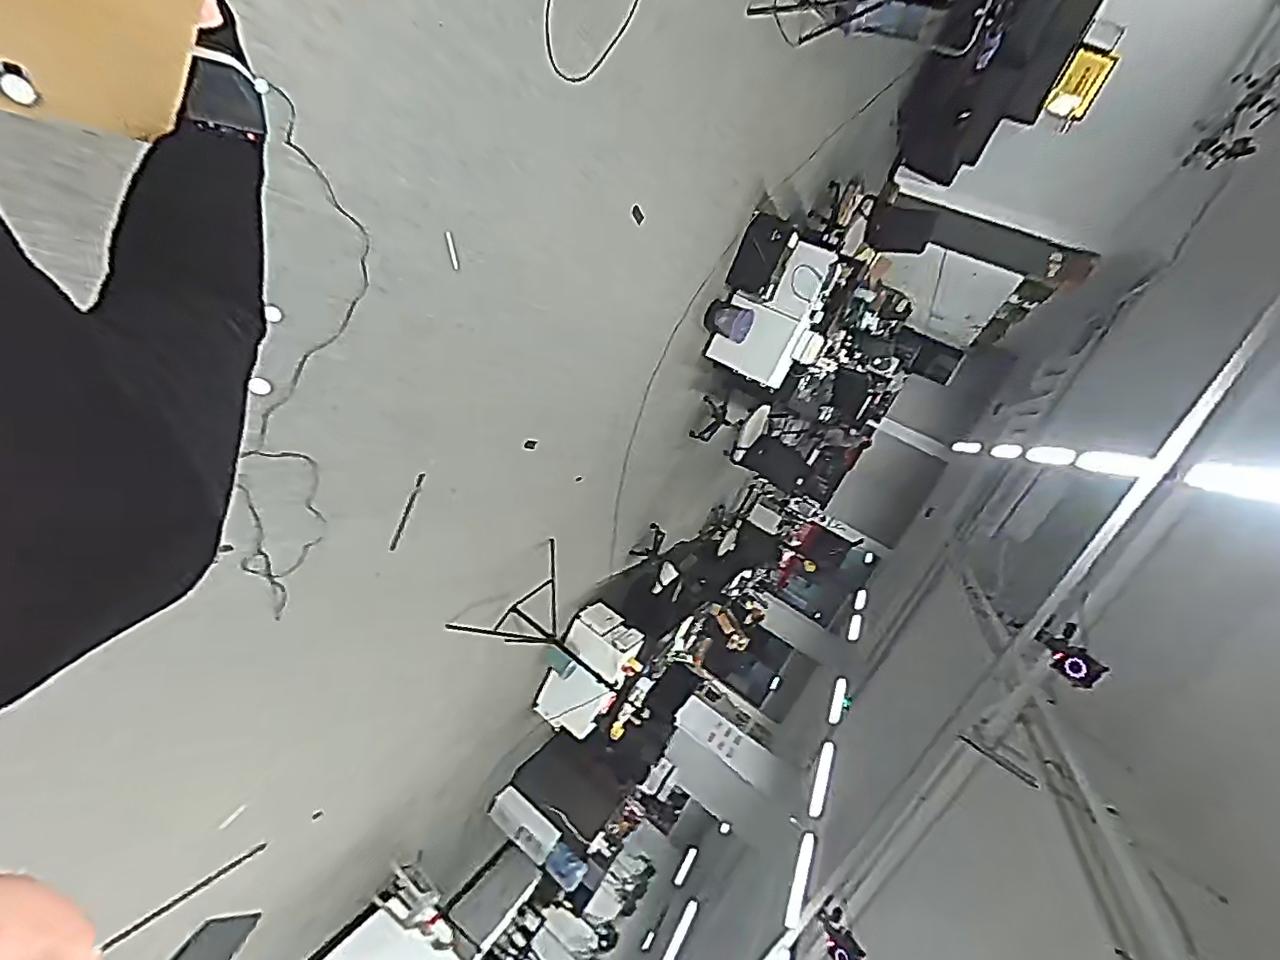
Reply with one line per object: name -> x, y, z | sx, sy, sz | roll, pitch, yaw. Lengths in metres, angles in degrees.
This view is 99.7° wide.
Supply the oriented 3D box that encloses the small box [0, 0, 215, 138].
small box -> -0.414, -0.361, 0.346 | 0.179, 0.176, 0.168 | -15, 91, -49
